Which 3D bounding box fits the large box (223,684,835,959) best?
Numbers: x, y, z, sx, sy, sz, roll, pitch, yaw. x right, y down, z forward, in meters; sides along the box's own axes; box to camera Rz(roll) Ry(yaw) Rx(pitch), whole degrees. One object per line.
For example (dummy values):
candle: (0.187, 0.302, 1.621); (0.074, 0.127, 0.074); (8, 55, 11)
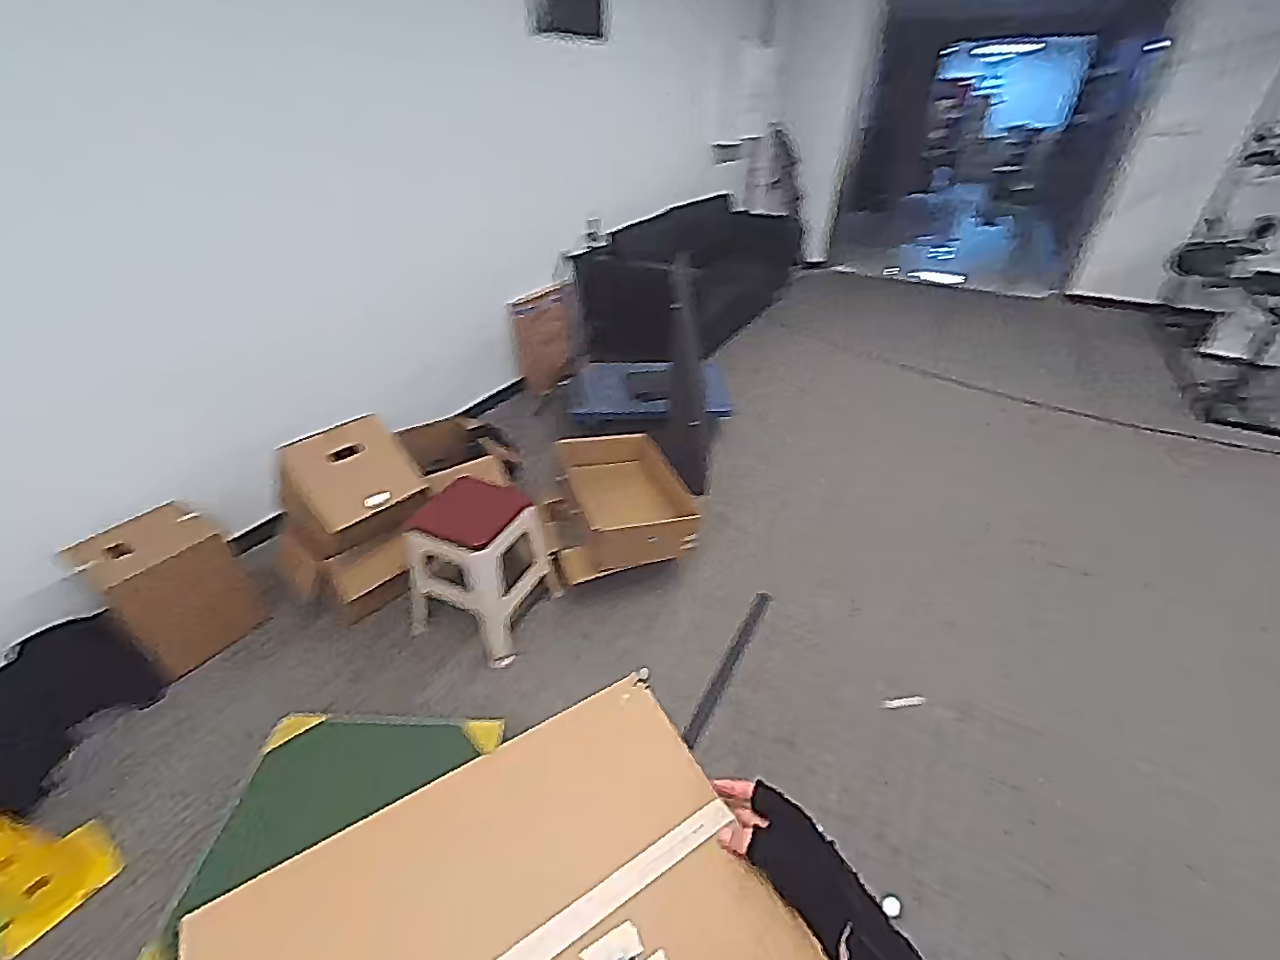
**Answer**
large box: (-0.088, 0.484, 0.506); (0.408, 0.320, 0.320); (-19, 46, -26)
